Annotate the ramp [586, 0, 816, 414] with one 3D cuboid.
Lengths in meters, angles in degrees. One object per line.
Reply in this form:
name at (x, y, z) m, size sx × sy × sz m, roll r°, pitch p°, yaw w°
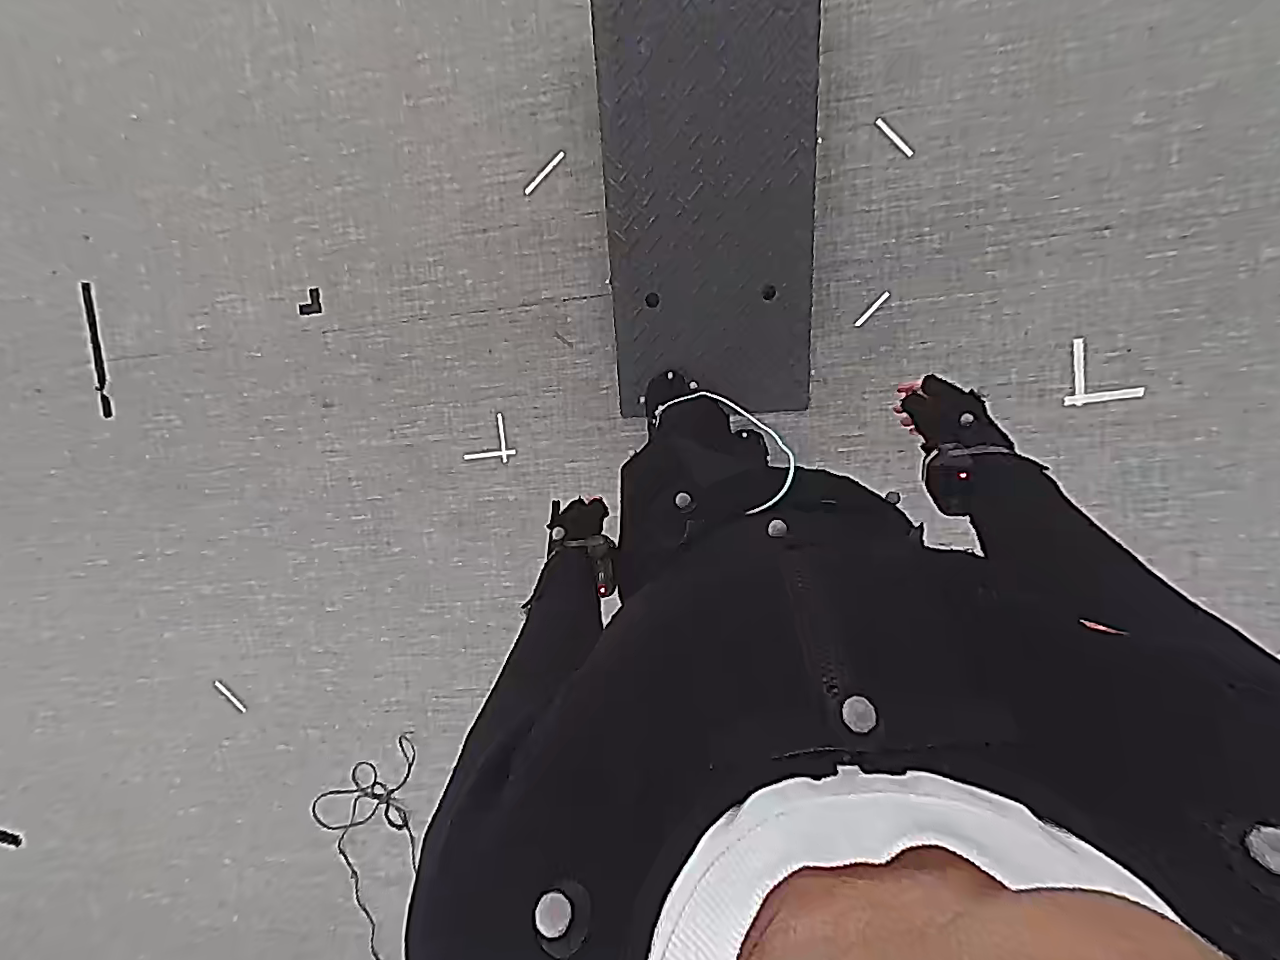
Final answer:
ramp at (0.154, -0.657, 1.272) m, size 0.509 × 0.206 × 0.991 m, roll -3°, pitch 98°, yaw 7°
